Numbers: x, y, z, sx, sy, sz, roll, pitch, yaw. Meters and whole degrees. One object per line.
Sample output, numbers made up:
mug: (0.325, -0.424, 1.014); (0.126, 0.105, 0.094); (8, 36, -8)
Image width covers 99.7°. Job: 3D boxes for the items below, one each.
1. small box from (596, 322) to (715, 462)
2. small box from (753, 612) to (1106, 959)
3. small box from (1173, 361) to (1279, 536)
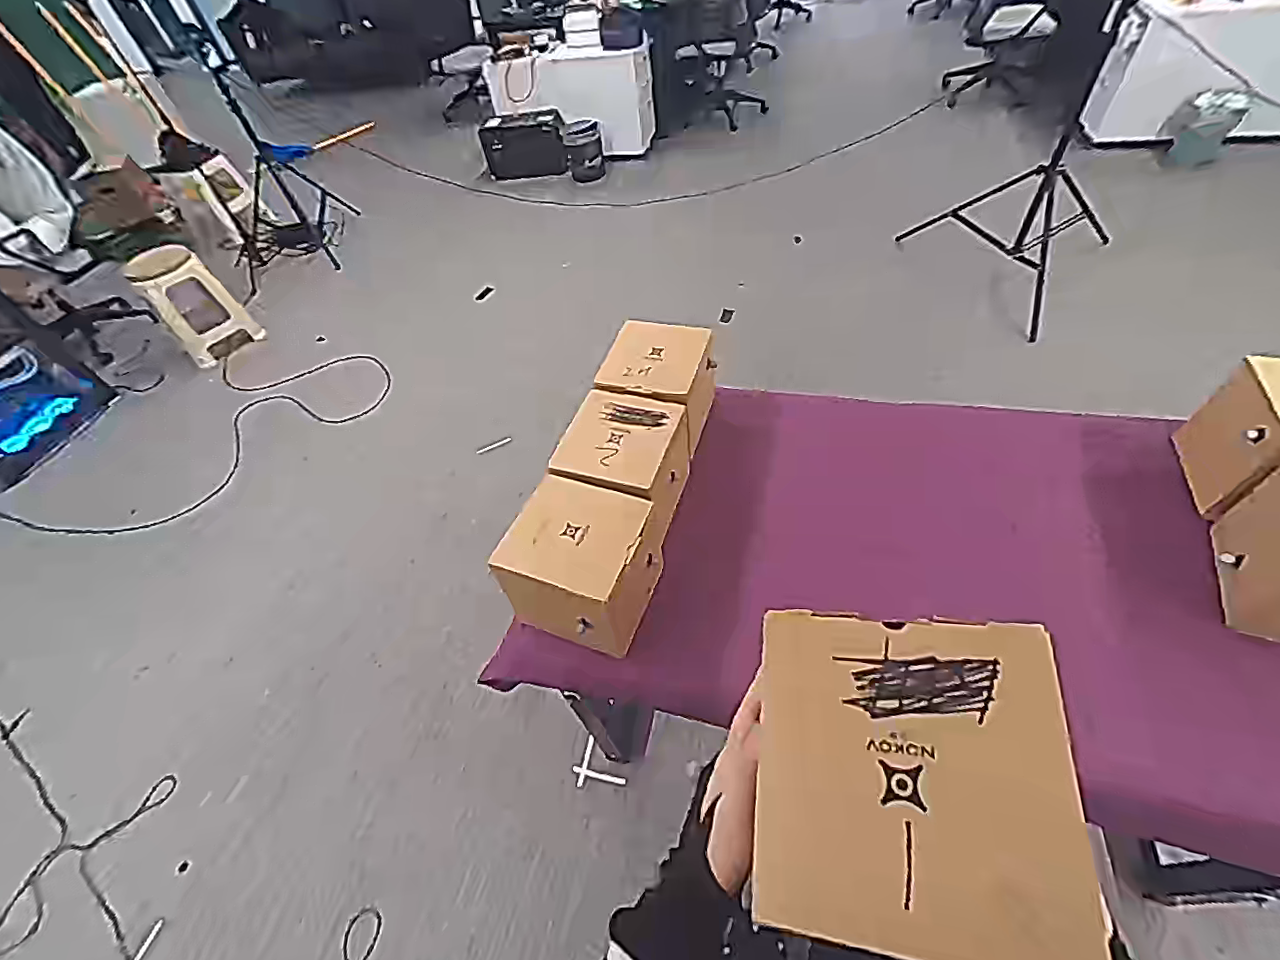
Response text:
small box: (0.036, -0.162, 0.991); (0.168, 0.176, 0.179); (11, 54, 17)
small box: (0.178, 0.206, 0.376); (0.168, 0.176, 0.179); (-2, 61, 22)
small box: (0.918, -0.039, 0.765); (0.168, 0.176, 0.179); (11, 53, 16)
